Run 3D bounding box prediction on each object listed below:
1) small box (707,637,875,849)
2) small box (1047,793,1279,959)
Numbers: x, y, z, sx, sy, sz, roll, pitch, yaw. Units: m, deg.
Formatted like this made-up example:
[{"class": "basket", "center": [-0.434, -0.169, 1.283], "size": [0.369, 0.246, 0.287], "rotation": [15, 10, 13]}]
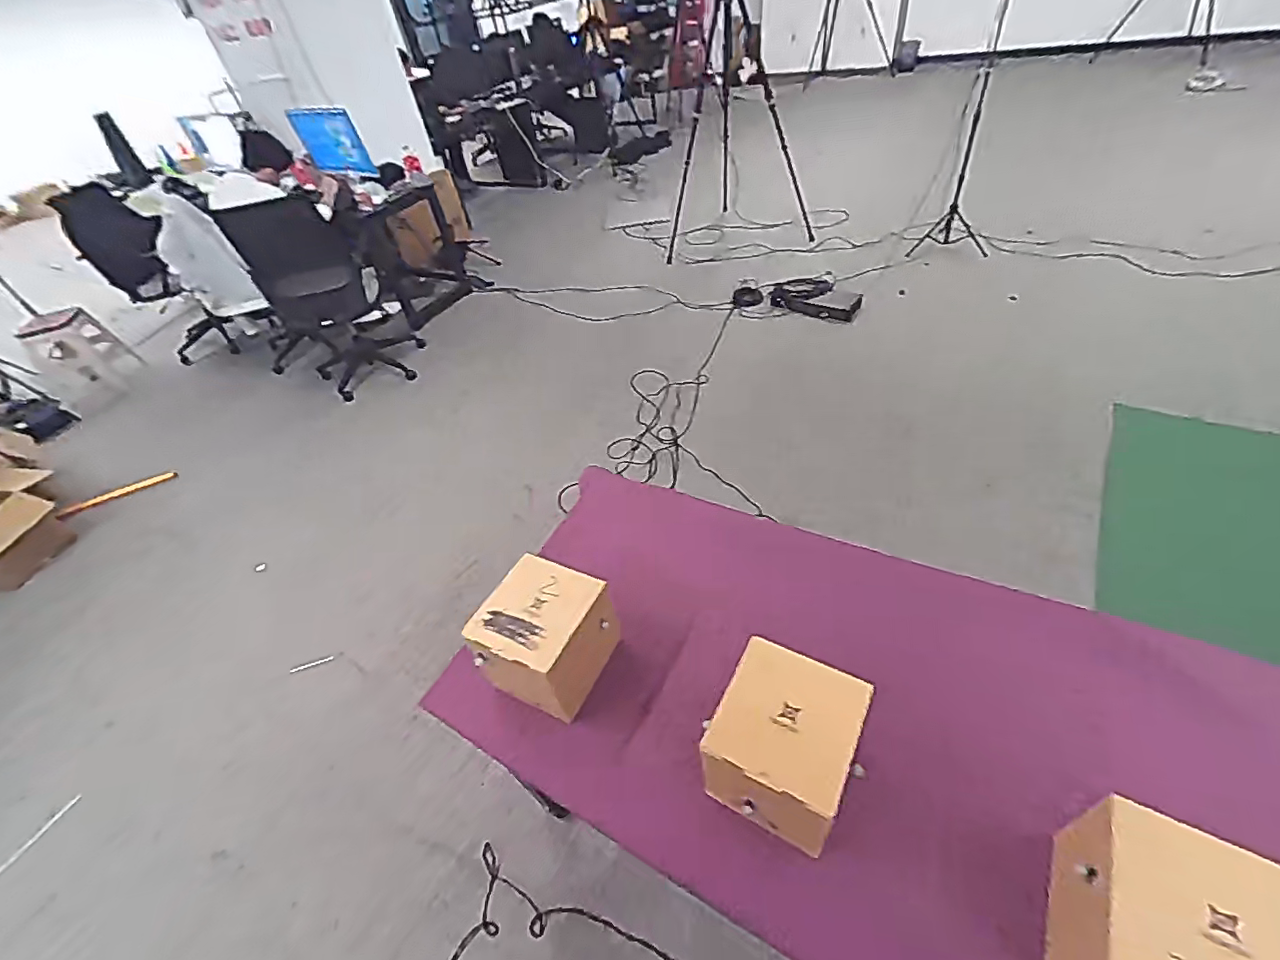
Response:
[{"class": "small box", "center": [0.200, 0.356, 0.738], "size": [0.168, 0.176, 0.179], "rotation": [18, 51, 26]}, {"class": "small box", "center": [0.545, 0.471, 0.551], "size": [0.168, 0.176, 0.179], "rotation": [18, 50, 28]}]
